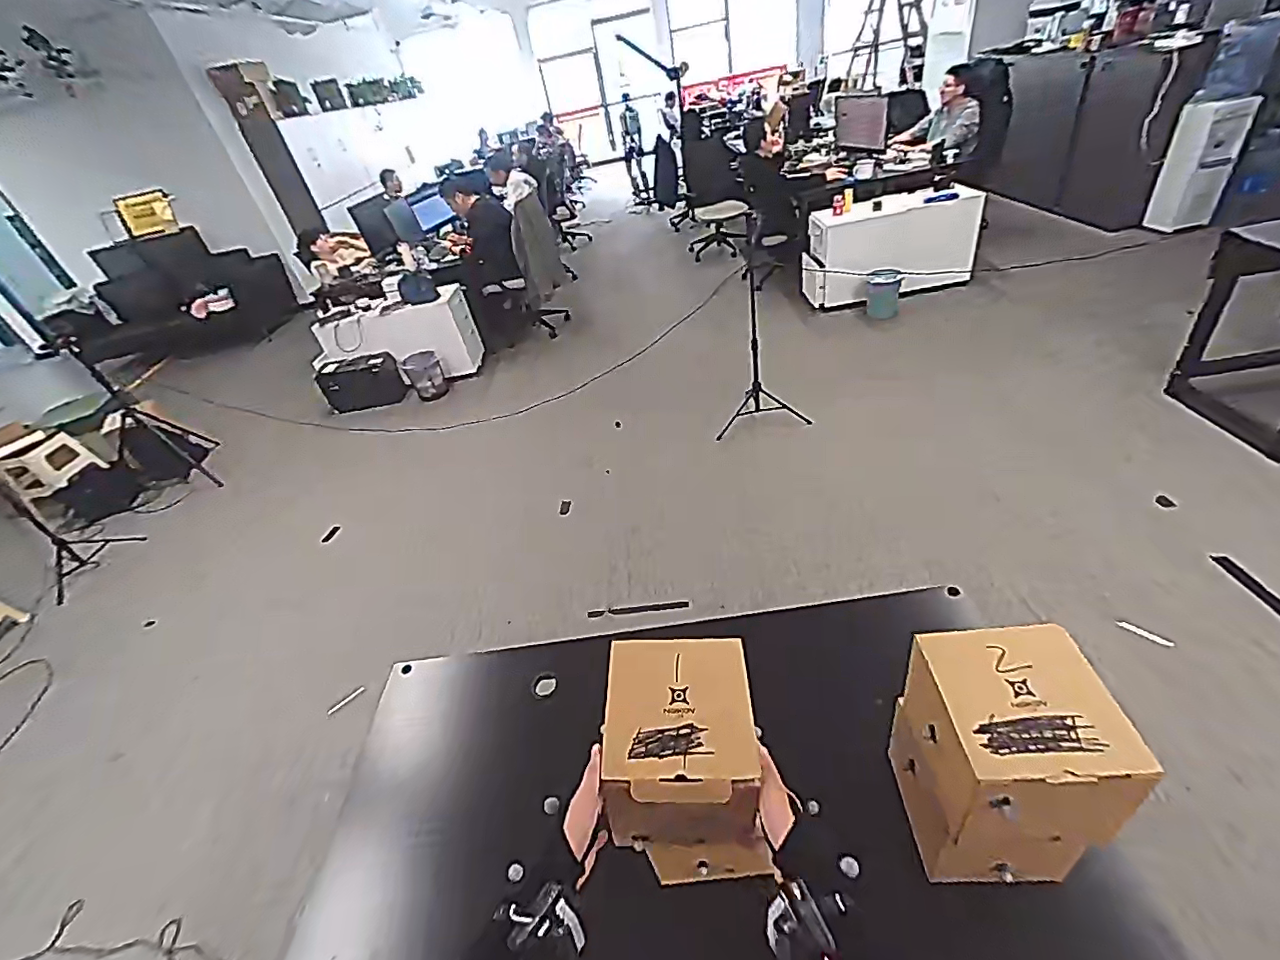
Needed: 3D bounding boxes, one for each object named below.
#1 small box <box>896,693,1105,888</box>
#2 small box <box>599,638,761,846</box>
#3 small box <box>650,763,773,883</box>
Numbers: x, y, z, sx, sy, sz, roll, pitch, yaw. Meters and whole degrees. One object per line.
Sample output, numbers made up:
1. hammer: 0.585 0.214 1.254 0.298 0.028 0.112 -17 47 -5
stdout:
1. small box: 0.459 0.414 0.727 0.168 0.176 0.179 -7 37 9
2. small box: 0.050 0.314 0.649 0.168 0.176 0.179 -2 37 4
3. small box: 0.095 0.453 0.791 0.168 0.176 0.179 -10 37 5
